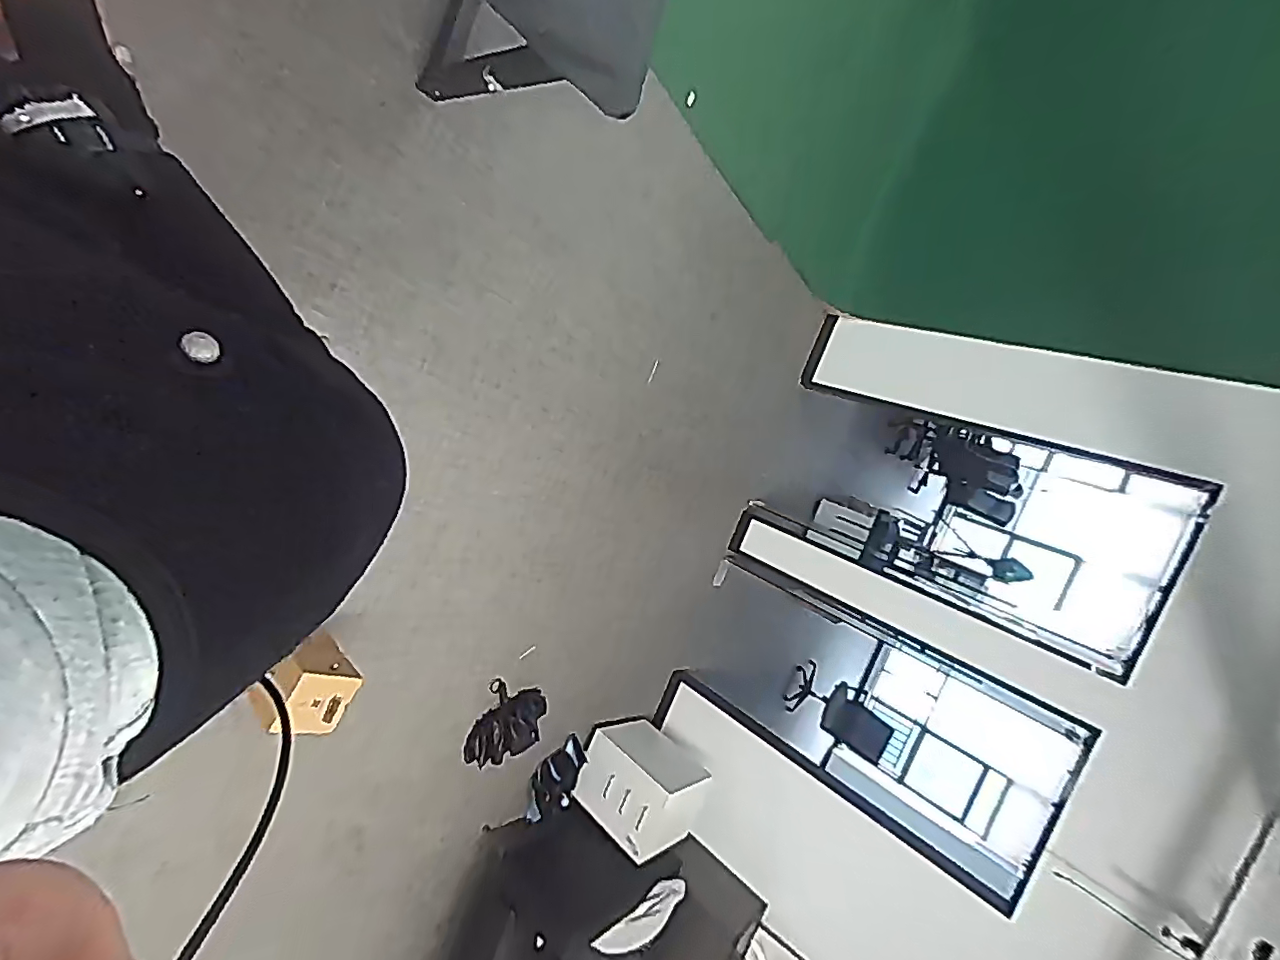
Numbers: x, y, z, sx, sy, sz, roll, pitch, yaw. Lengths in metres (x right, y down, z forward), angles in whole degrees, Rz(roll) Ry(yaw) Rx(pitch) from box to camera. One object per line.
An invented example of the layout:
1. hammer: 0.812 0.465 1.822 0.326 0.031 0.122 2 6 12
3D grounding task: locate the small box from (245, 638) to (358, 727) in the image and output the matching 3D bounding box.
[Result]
1. small box: -0.923 0.551 1.476 0.168 0.176 0.179 -62 144 -8

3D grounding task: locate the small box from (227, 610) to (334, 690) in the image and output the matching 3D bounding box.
1. small box: -1.045 0.495 1.571 0.179 0.176 0.168 37 79 -53
